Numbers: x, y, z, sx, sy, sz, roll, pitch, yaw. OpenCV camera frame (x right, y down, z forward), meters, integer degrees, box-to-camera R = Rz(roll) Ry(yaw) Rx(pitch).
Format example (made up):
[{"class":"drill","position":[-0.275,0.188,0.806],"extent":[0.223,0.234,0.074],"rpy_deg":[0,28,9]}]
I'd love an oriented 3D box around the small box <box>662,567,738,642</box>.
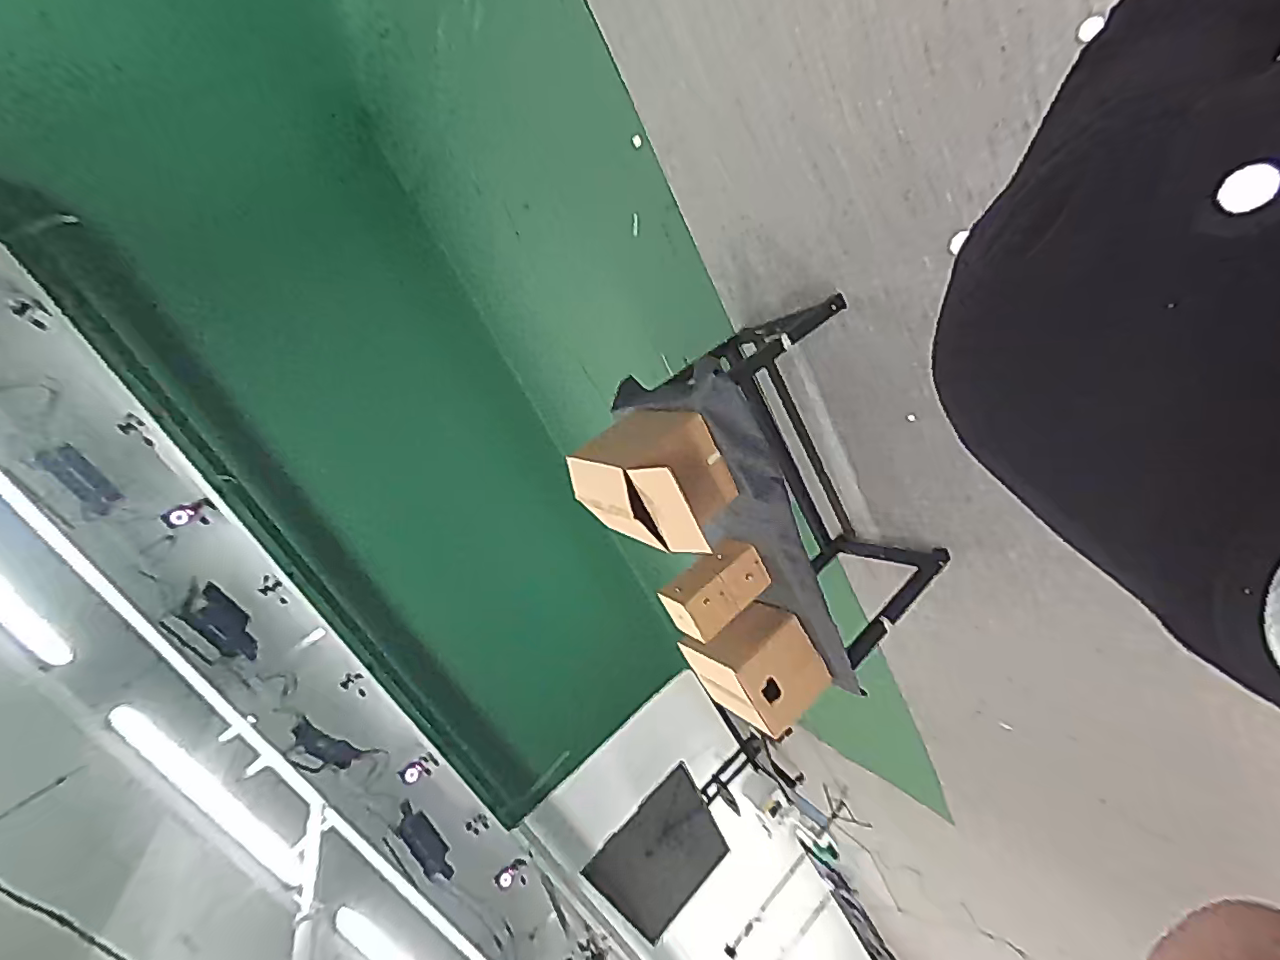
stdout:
[{"class":"small box","position":[0.215,0.423,1.872],"extent":[0.168,0.176,0.179],"rpy_deg":[59,159,-17]}]
